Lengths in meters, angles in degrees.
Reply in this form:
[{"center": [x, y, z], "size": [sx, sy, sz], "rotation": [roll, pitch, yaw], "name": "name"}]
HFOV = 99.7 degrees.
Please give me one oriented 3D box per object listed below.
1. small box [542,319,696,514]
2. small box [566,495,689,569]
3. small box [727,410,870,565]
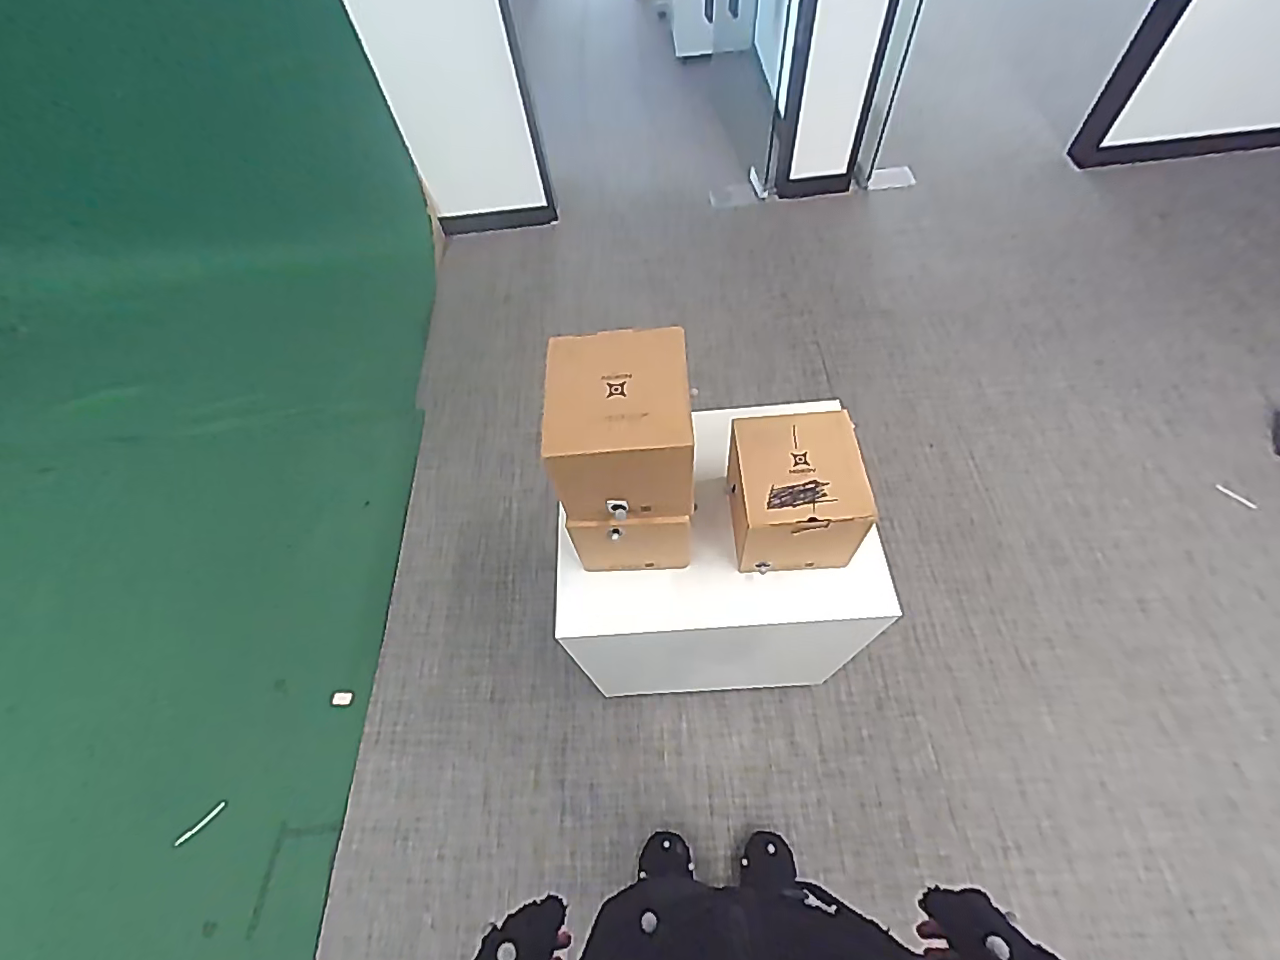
[{"center": [-0.020, -0.074, 0.678], "size": [0.168, 0.176, 0.179], "rotation": [-5, 61, 3], "name": "small box"}, {"center": [-0.010, 0.023, 0.828], "size": [0.168, 0.176, 0.179], "rotation": [-3, 58, 5], "name": "small box"}, {"center": [0.222, 0.020, 0.807], "size": [0.168, 0.176, 0.179], "rotation": [-3, 58, 4], "name": "small box"}]
